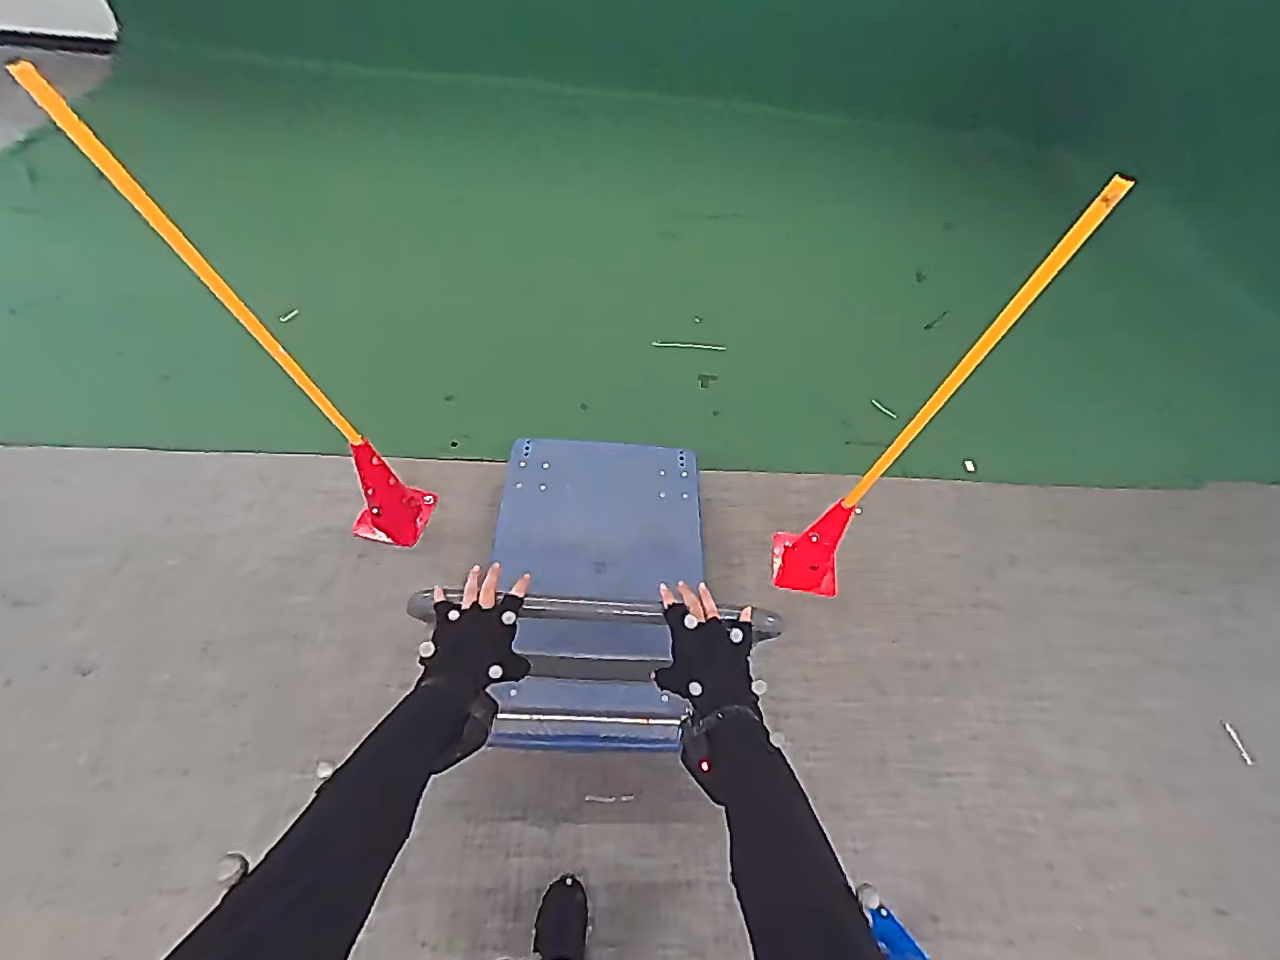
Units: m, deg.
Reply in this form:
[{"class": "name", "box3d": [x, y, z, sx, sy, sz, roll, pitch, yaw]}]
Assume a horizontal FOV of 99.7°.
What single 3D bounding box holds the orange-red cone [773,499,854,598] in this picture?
[{"class": "orange-red cone", "box3d": [0.536, 0.171, 1.572, 0.198, 0.360, 0.199, 11, 54, 2]}]
